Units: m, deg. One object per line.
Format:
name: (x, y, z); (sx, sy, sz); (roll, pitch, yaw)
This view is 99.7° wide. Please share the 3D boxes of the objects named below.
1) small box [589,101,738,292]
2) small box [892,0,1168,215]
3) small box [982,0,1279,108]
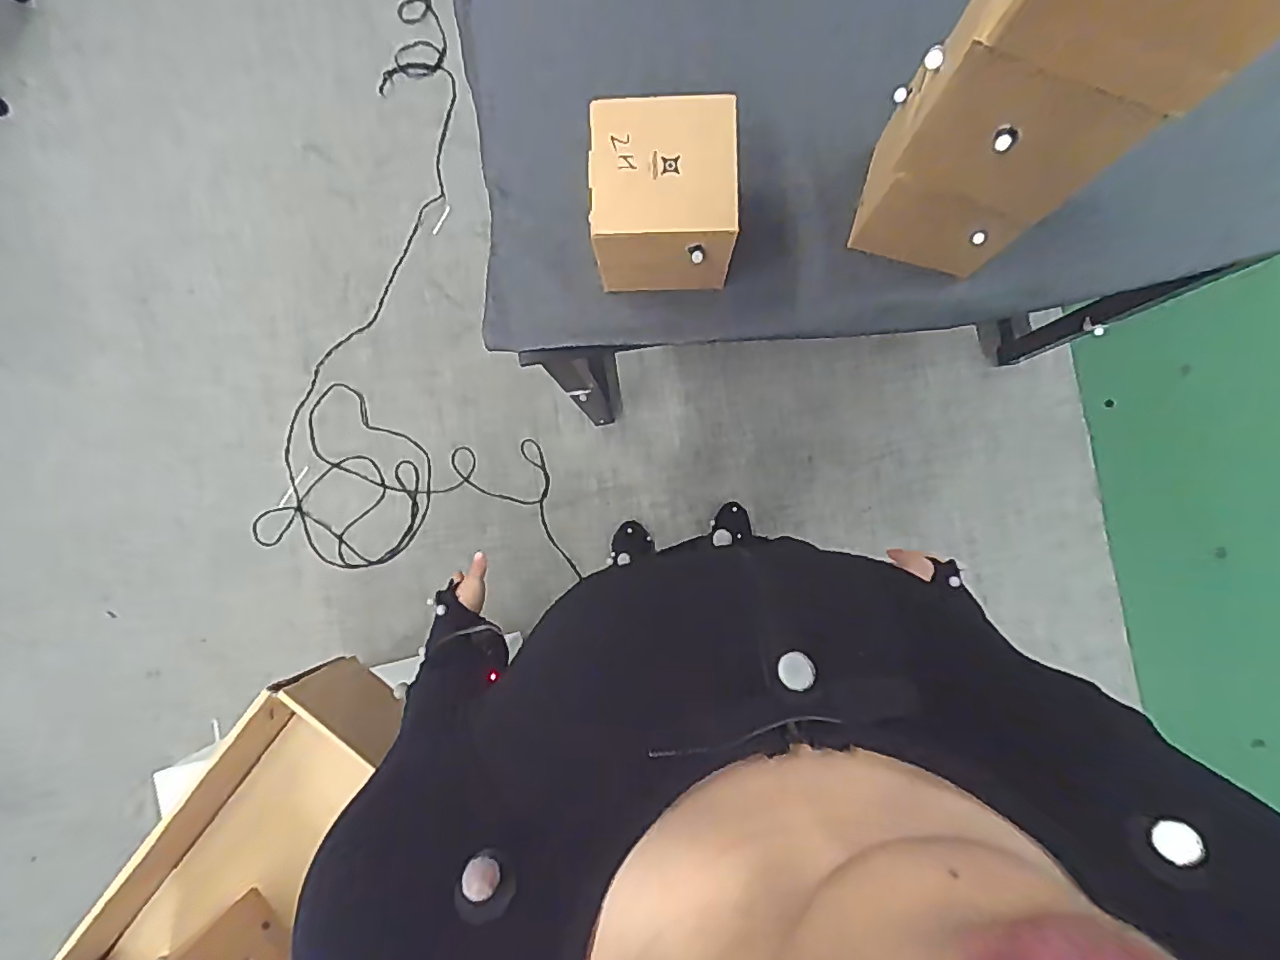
small box: (0.030, -0.360, 0.714); (0.179, 0.176, 0.168); (-1, 87, 3)
small box: (0.389, -0.398, 0.533); (0.179, 0.176, 0.168); (25, 88, 5)
small box: (0.384, -0.407, 0.371); (0.179, 0.176, 0.168); (24, 87, 4)
